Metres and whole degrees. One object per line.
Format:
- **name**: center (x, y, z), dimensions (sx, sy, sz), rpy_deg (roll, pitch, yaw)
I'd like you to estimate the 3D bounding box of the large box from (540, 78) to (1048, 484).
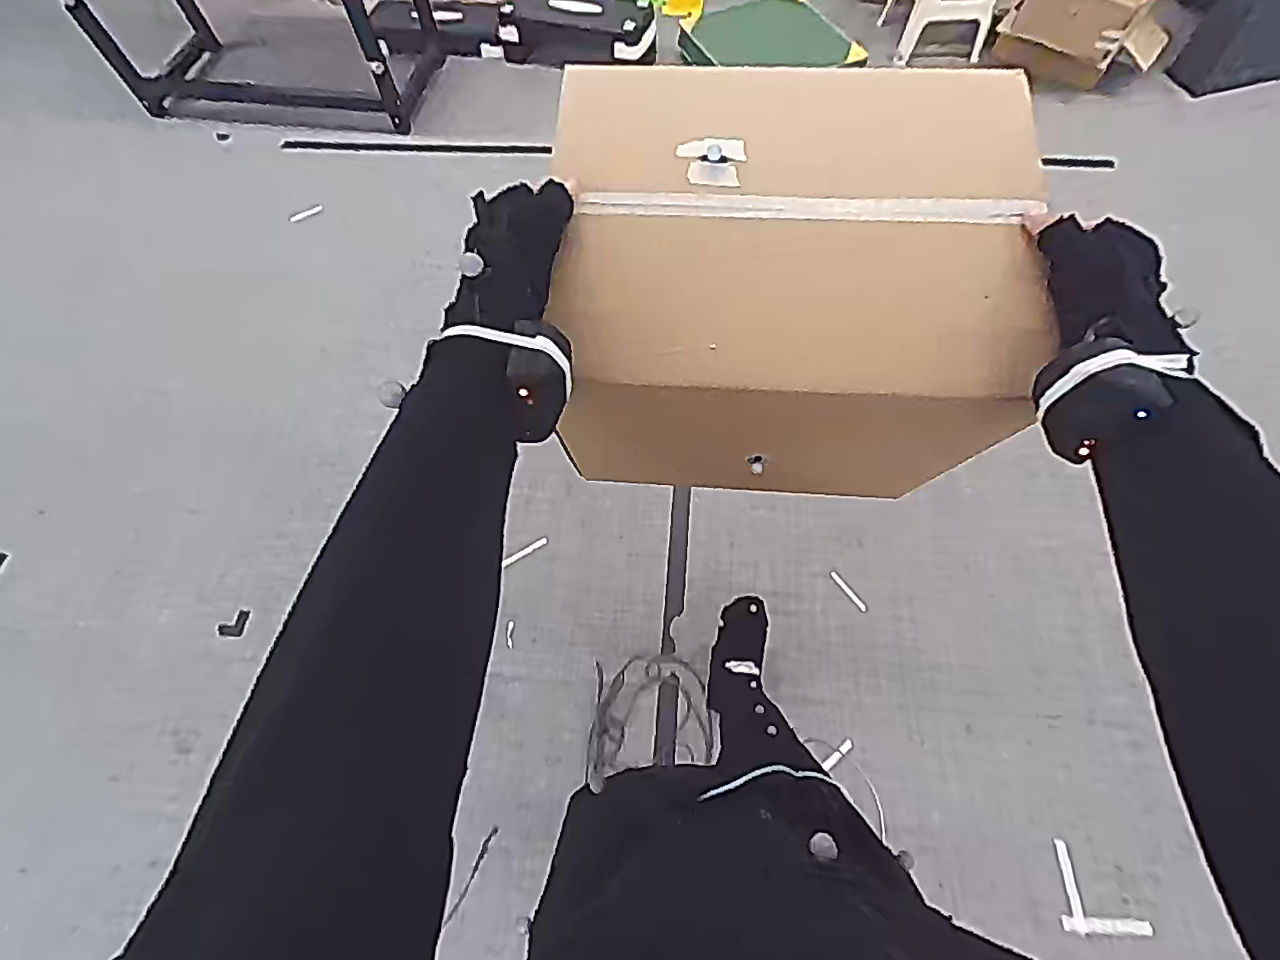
- **large box**: center (0.136, -0.183, 0.607), dimensions (0.408, 0.320, 0.320), rpy_deg (3, 75, 5)
